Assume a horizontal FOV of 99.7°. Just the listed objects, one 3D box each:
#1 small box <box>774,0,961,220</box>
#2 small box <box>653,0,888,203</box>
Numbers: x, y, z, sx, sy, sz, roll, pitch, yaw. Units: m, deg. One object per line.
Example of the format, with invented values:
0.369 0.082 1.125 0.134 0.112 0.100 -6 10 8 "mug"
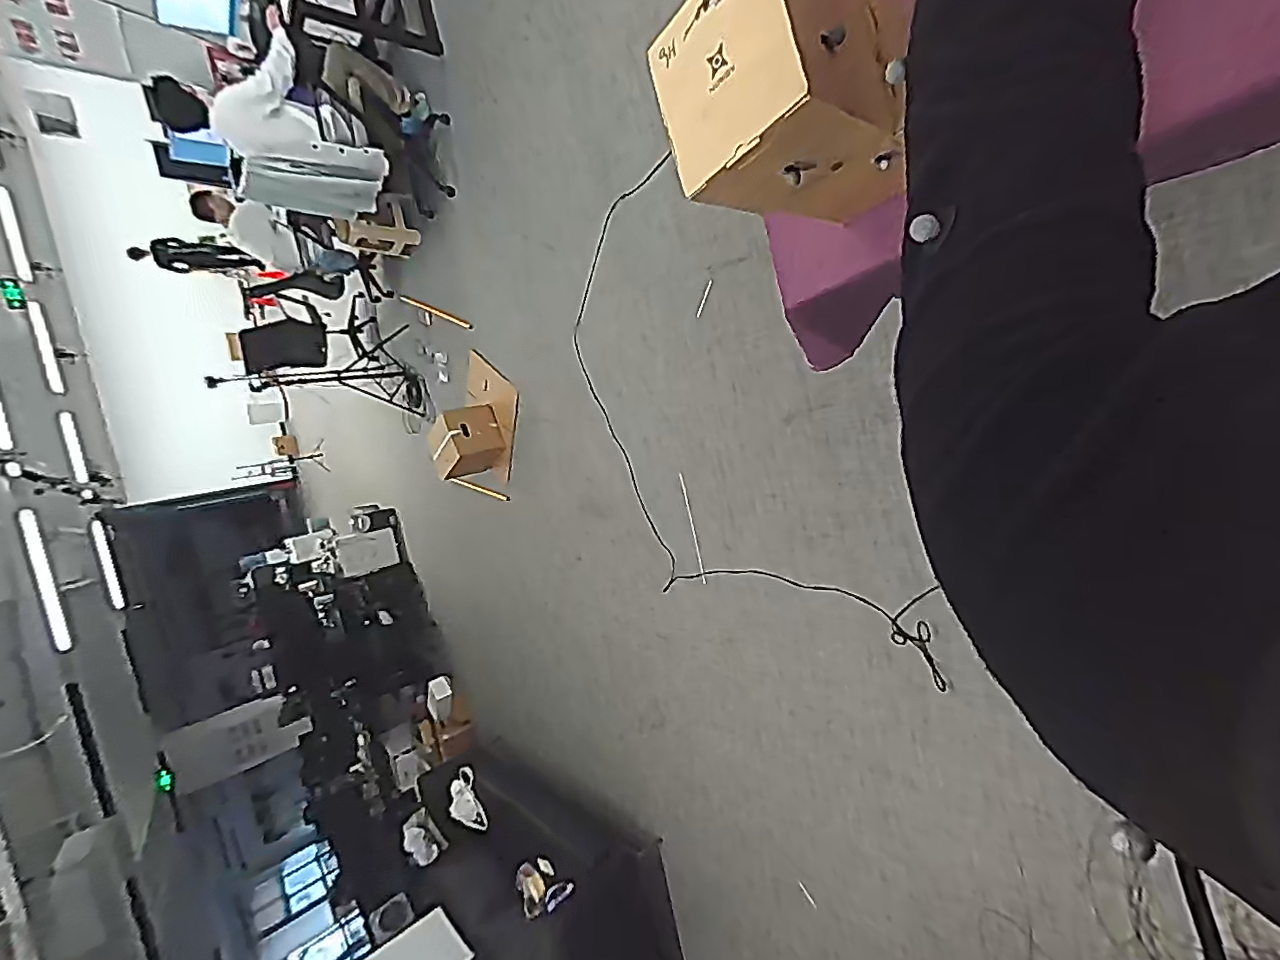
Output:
0.275 -0.460 0.696 0.179 0.176 0.168 -15 89 51 "small box"
0.146 -0.431 0.597 0.168 0.176 0.179 -15 90 51 "small box"
